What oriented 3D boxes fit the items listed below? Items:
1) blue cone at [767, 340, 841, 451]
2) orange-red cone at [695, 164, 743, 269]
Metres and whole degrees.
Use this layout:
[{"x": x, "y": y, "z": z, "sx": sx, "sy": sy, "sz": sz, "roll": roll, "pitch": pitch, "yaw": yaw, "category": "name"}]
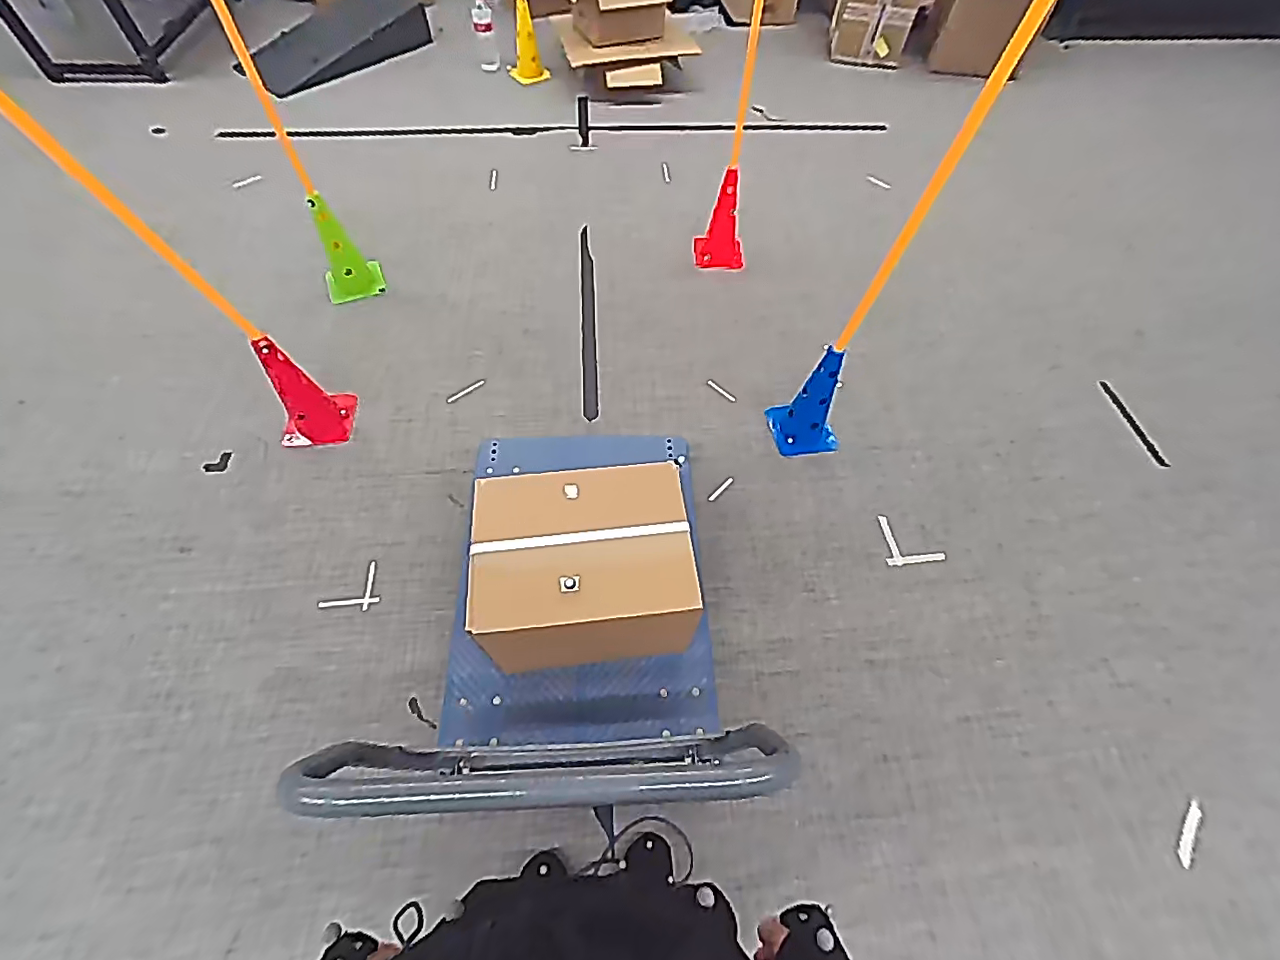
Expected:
[{"x": 0.533, "y": -0.263, "z": 1.637, "sx": 0.193, "sy": 0.380, "sz": 0.192, "roll": -6, "pitch": 58, "yaw": -7, "category": "blue cone"}, {"x": 0.333, "y": -1.030, "z": 2.086, "sx": 0.199, "sy": 0.360, "sz": 0.198, "roll": 3, "pitch": 59, "yaw": -2, "category": "orange-red cone"}]
